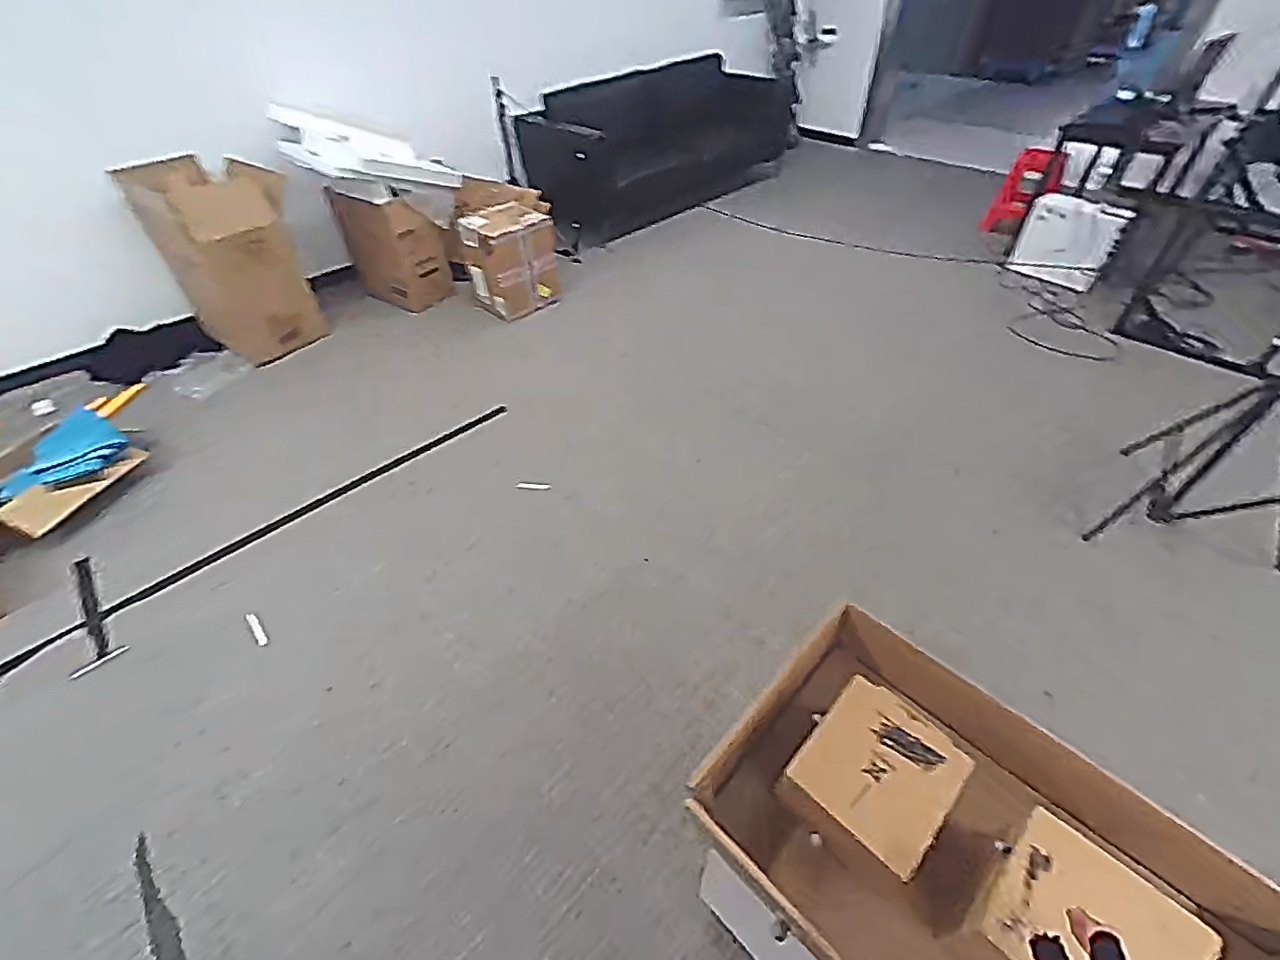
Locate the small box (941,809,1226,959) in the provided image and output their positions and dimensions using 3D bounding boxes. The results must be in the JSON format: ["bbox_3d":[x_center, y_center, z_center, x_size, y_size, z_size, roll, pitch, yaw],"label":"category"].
[{"bbox_3d":[0.489,0.528,0.622,0.168,0.176,0.179,-38,53,-25],"label":"small box"}]

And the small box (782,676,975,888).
[{"bbox_3d":[0.313,0.415,0.744,0.179,0.176,0.168,-39,55,-24],"label":"small box"}]
